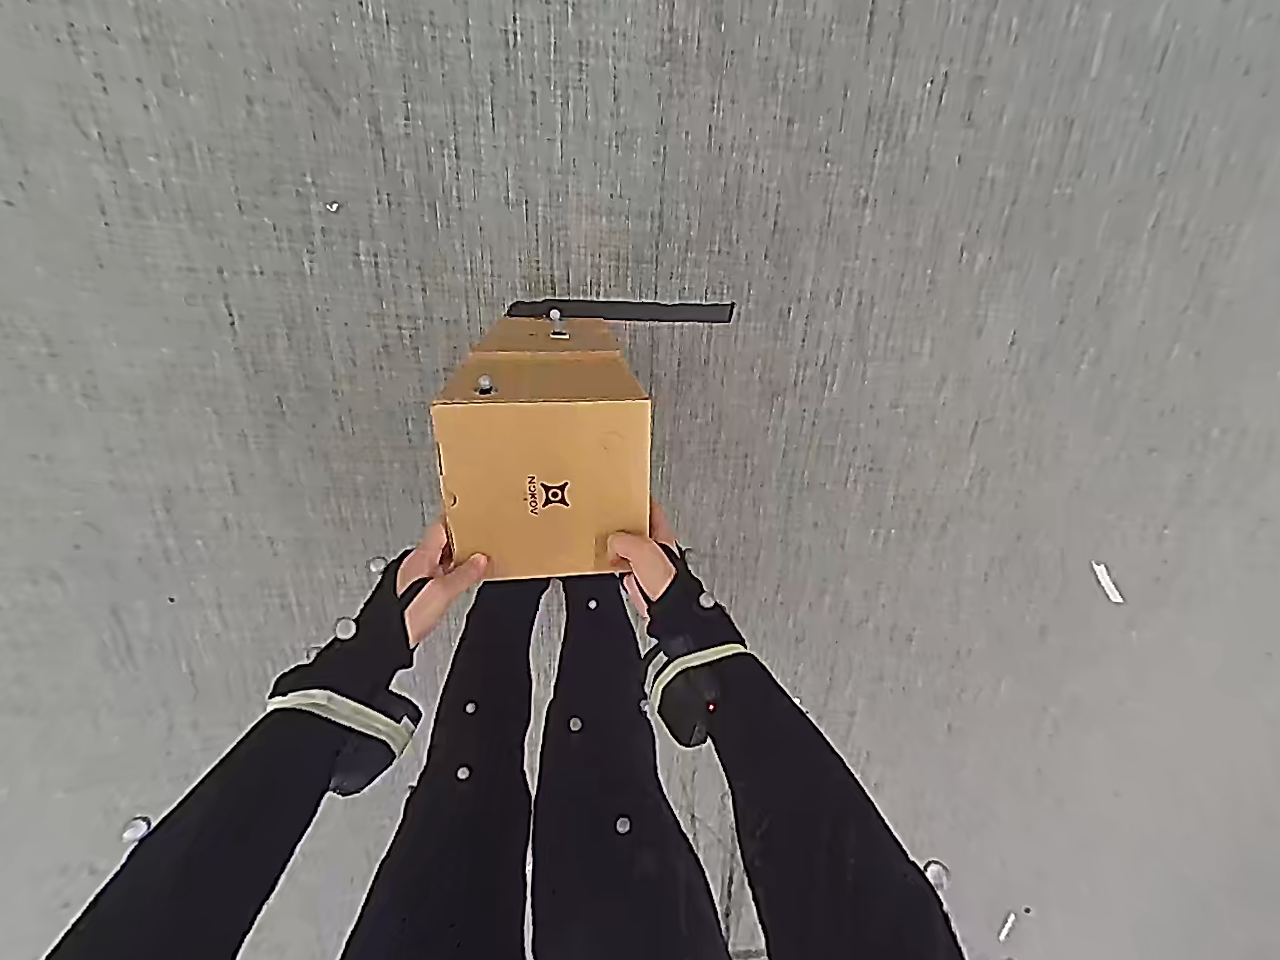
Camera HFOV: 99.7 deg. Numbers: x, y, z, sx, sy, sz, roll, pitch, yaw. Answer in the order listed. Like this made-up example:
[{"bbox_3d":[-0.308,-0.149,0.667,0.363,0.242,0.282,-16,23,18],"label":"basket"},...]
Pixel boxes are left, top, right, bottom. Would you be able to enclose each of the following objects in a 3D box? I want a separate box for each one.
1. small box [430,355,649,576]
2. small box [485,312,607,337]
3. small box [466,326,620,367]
[{"bbox_3d":[-0.090,-0.025,0.534,0.179,0.176,0.168,-3,114,-7],"label":"small box"},{"bbox_3d":[-0.136,-0.156,0.827,0.168,0.176,0.179,-2,113,-7],"label":"small box"},{"bbox_3d":[-0.114,-0.093,0.680,0.168,0.176,0.179,-3,112,-7],"label":"small box"}]
